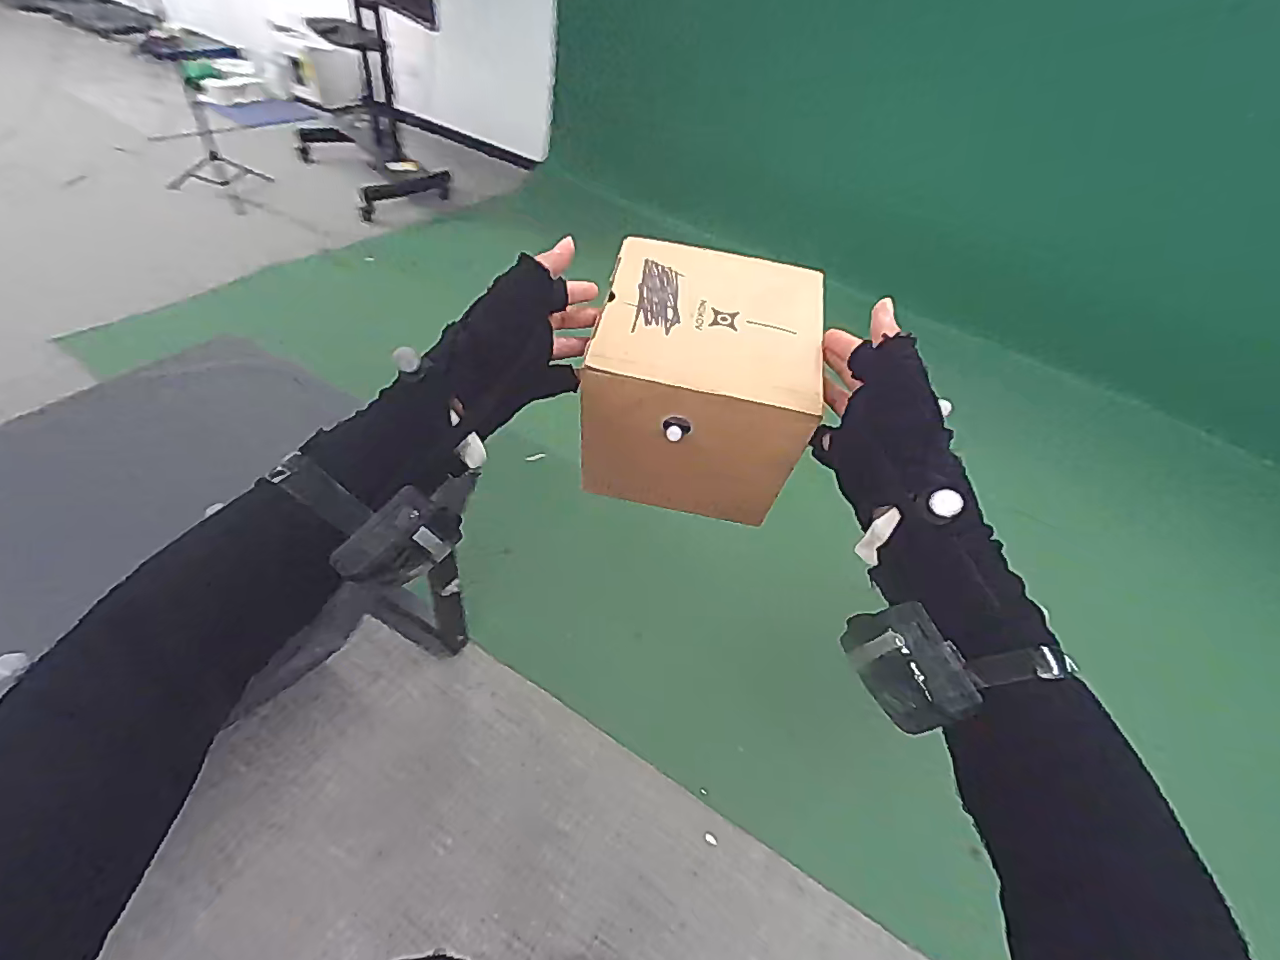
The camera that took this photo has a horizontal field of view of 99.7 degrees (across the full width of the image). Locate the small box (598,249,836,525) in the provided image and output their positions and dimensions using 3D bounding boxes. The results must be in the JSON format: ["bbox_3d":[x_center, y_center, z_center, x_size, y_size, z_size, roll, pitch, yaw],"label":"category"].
[{"bbox_3d":[0.062,-0.077,0.496,0.179,0.176,0.168,13,57,2],"label":"small box"}]
